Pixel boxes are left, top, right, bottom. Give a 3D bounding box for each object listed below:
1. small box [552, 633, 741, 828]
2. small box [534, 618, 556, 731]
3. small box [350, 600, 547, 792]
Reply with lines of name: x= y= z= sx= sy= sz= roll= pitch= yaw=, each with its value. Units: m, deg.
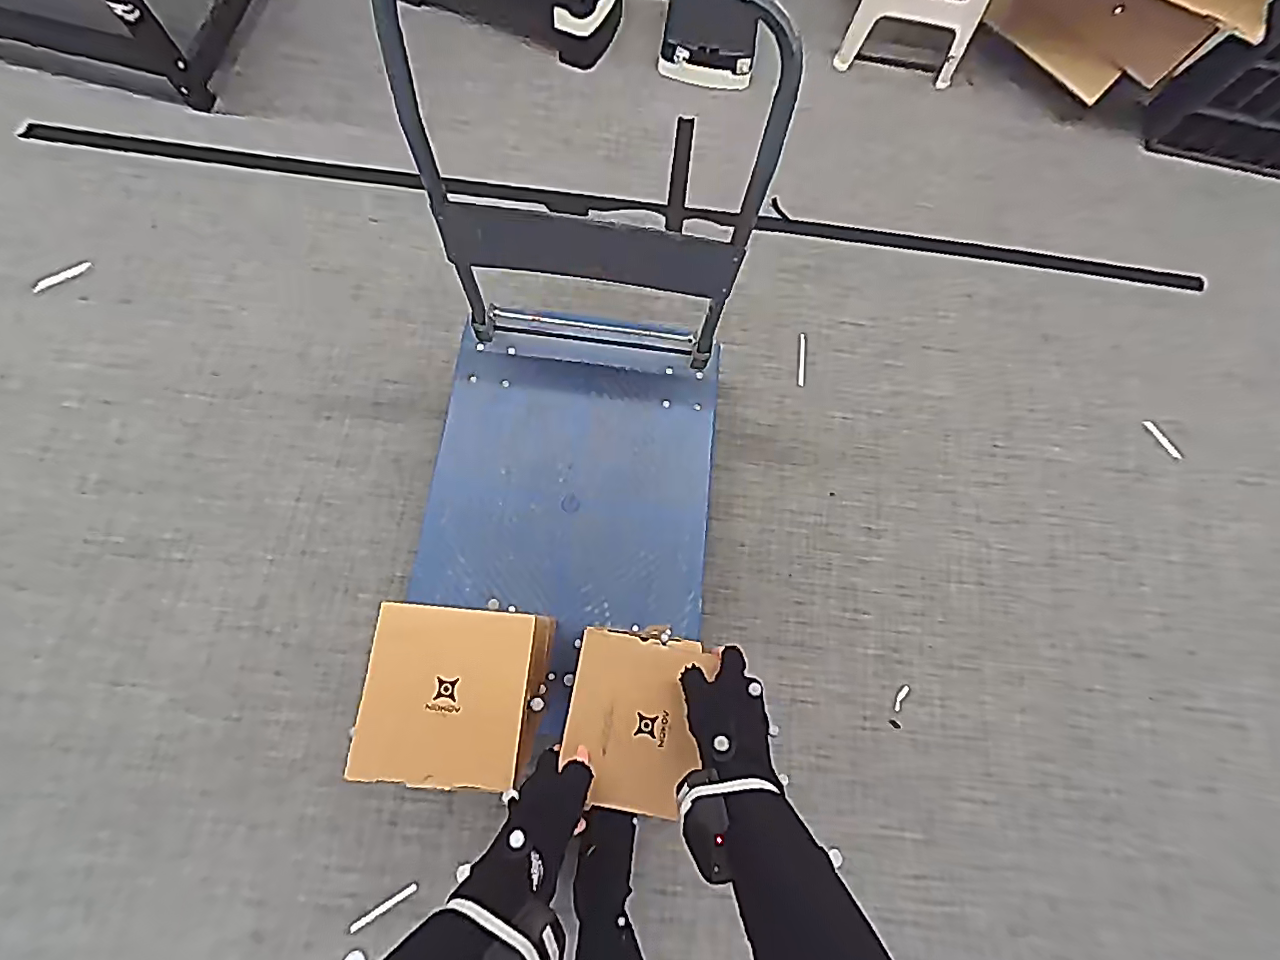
small box: x=0.005 y=0.281 z=0.645 sx=0.179 sy=0.176 sz=0.168 roll=12 pitch=73 yaw=0
small box: x=-0.241 y=0.327 z=0.952 sx=0.168 sy=0.176 sz=0.179 roll=6 pitch=74 yaw=-4
small box: x=-0.205 y=0.242 z=0.637 sx=0.168 sy=0.176 sz=0.179 roll=7 pitch=75 yaw=-3
